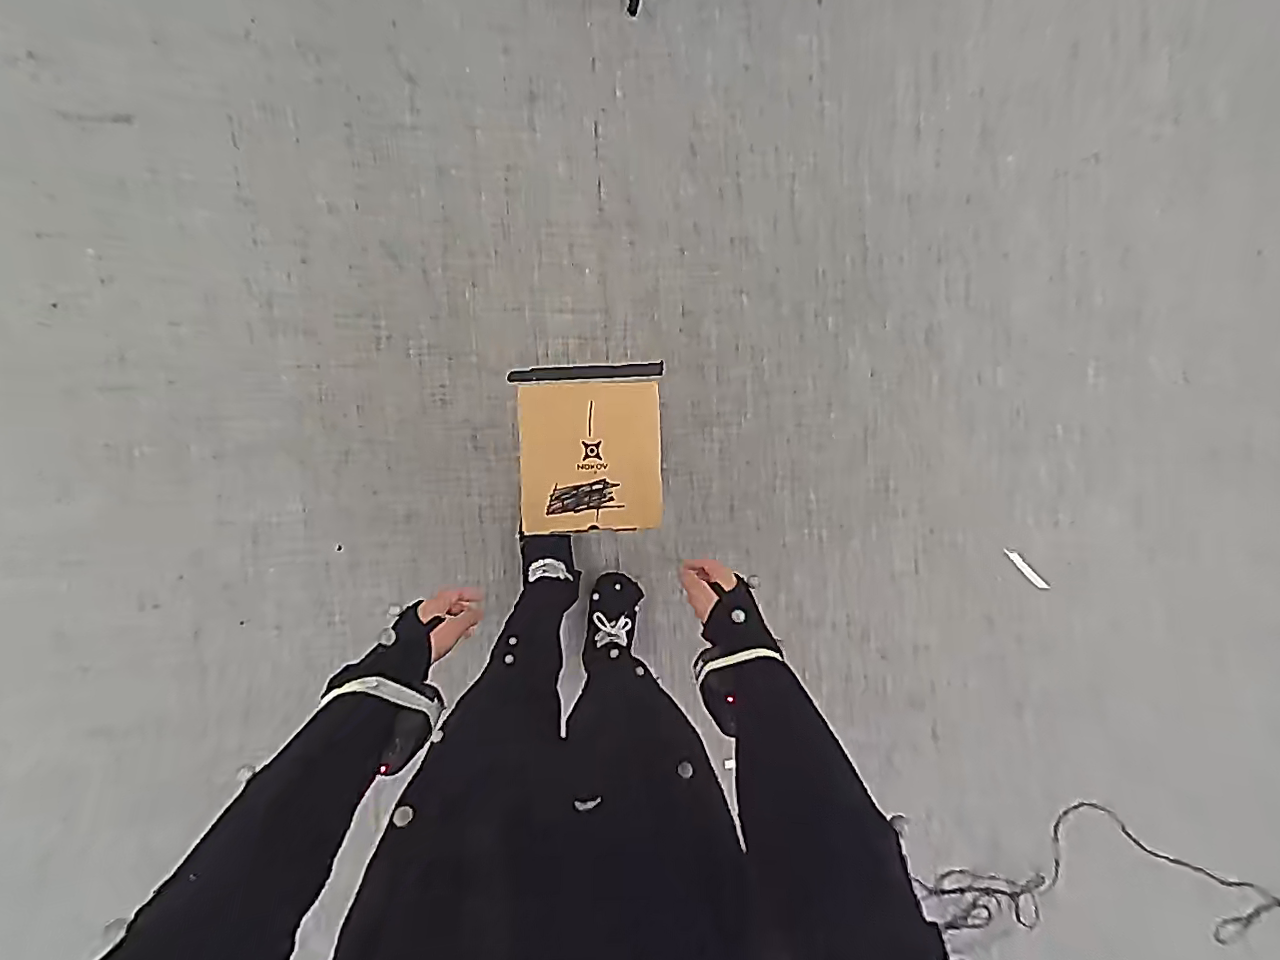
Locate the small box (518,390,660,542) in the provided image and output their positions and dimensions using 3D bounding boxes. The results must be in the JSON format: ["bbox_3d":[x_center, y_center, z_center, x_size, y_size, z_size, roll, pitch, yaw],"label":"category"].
[{"bbox_3d":[-0.064,-0.021,0.707,0.168,0.176,0.179,-2,92,-6],"label":"small box"}]
